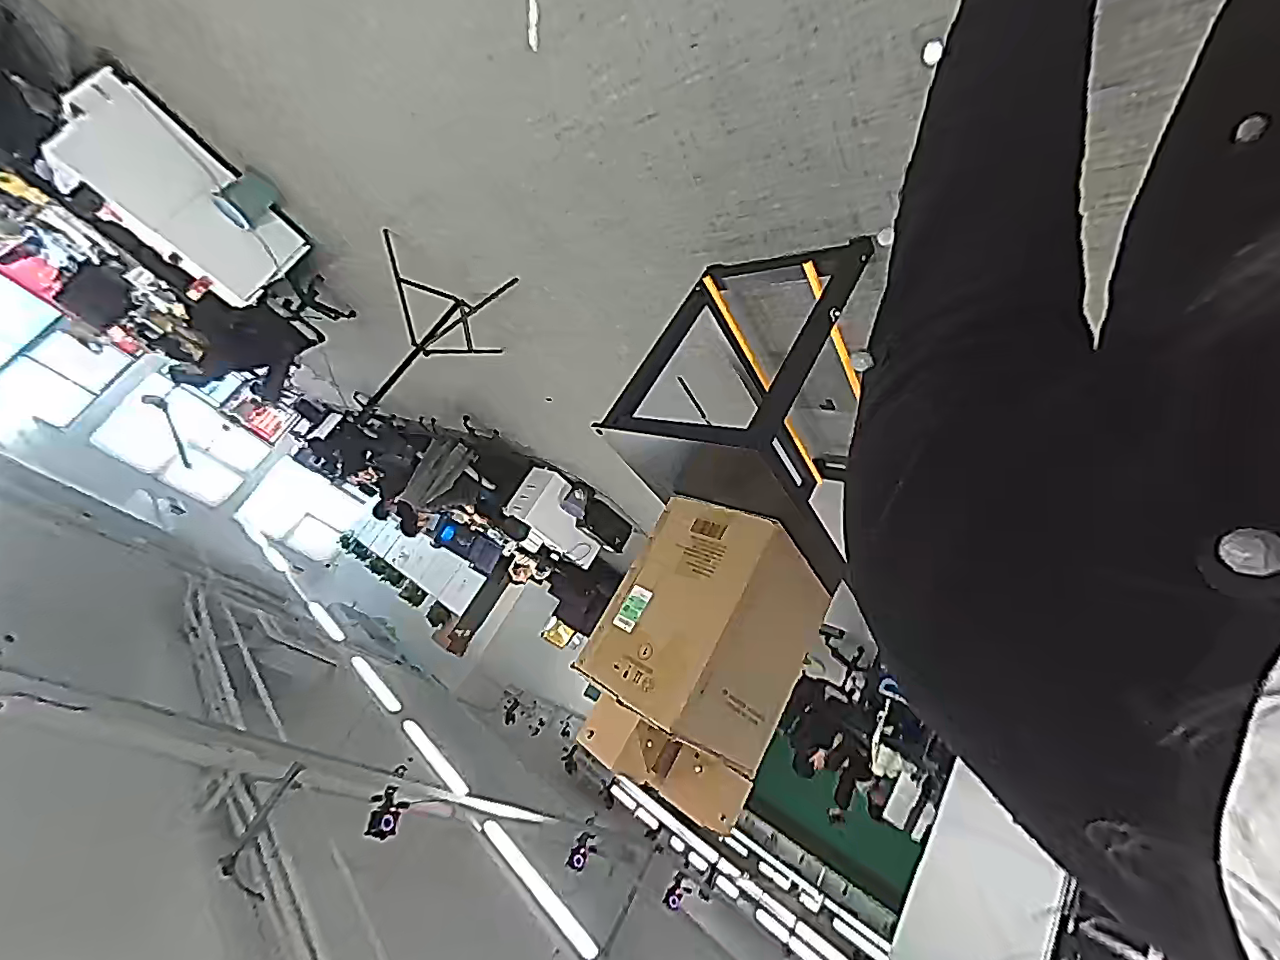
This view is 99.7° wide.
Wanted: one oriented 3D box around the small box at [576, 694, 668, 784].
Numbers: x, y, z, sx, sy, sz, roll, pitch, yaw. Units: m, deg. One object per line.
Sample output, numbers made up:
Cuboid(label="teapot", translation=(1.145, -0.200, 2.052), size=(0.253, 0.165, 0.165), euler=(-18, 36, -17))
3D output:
Cuboid(label="small box", translation=(-0.049, 0.755, 1.598), size=(0.179, 0.176, 0.168), euler=(14, 156, 48))

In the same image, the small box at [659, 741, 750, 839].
Cuboid(label="small box", translation=(0.195, 0.902, 1.582), size=(0.168, 0.176, 0.179), euler=(10, 149, 47))
